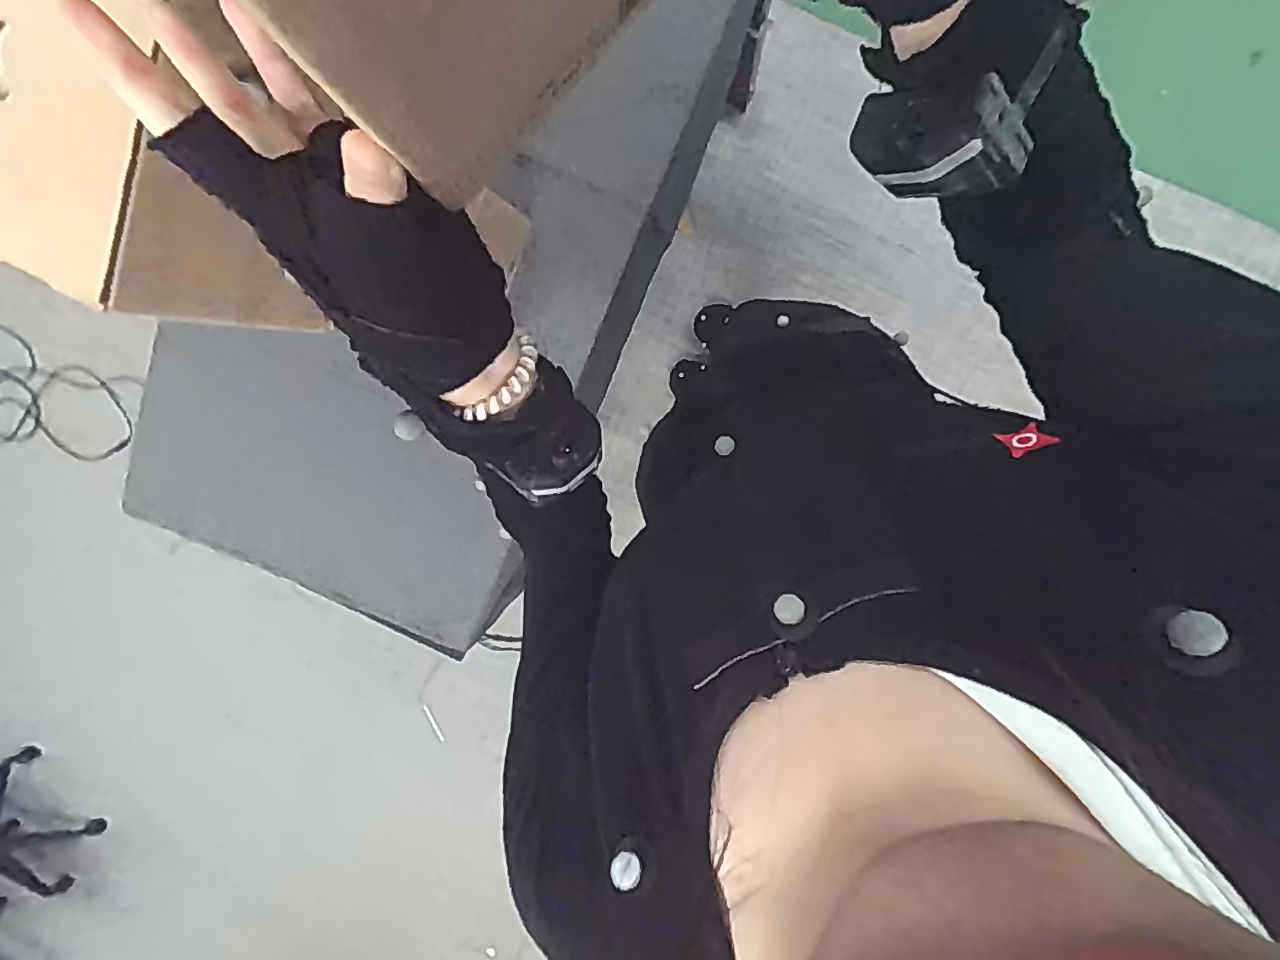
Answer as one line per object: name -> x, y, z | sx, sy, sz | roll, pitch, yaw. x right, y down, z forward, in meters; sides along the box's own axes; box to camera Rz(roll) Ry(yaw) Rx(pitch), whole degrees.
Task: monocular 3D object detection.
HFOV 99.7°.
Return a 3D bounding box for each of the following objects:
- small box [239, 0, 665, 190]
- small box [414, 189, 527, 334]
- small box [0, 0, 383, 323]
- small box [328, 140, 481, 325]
small box -> -0.074, -0.212, 0.133 | 0.168, 0.176, 0.179 | -44, 104, 6
small box -> -0.260, -0.287, 0.653 | 0.179, 0.176, 0.168 | 24, 105, 2
small box -> -0.294, -0.215, 0.336 | 0.168, 0.176, 0.179 | 26, 105, 1
small box -> -0.278, -0.252, 0.496 | 0.179, 0.176, 0.168 | 24, 105, 1
